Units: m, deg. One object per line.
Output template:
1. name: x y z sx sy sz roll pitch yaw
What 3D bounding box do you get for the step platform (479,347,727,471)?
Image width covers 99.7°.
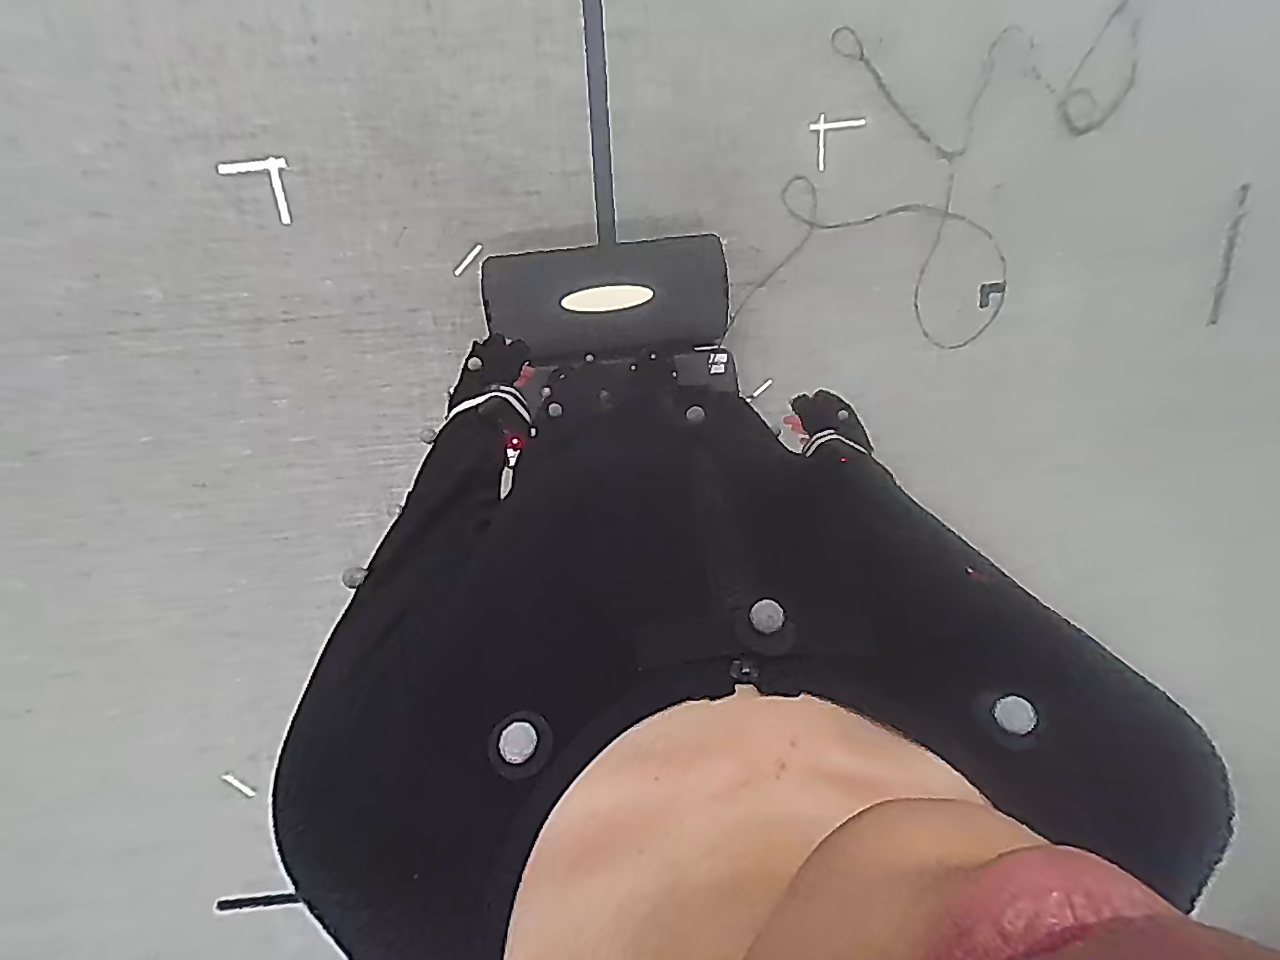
1. step platform: -0.099 -0.203 1.533 0.684 0.204 0.286 -6 105 -1
